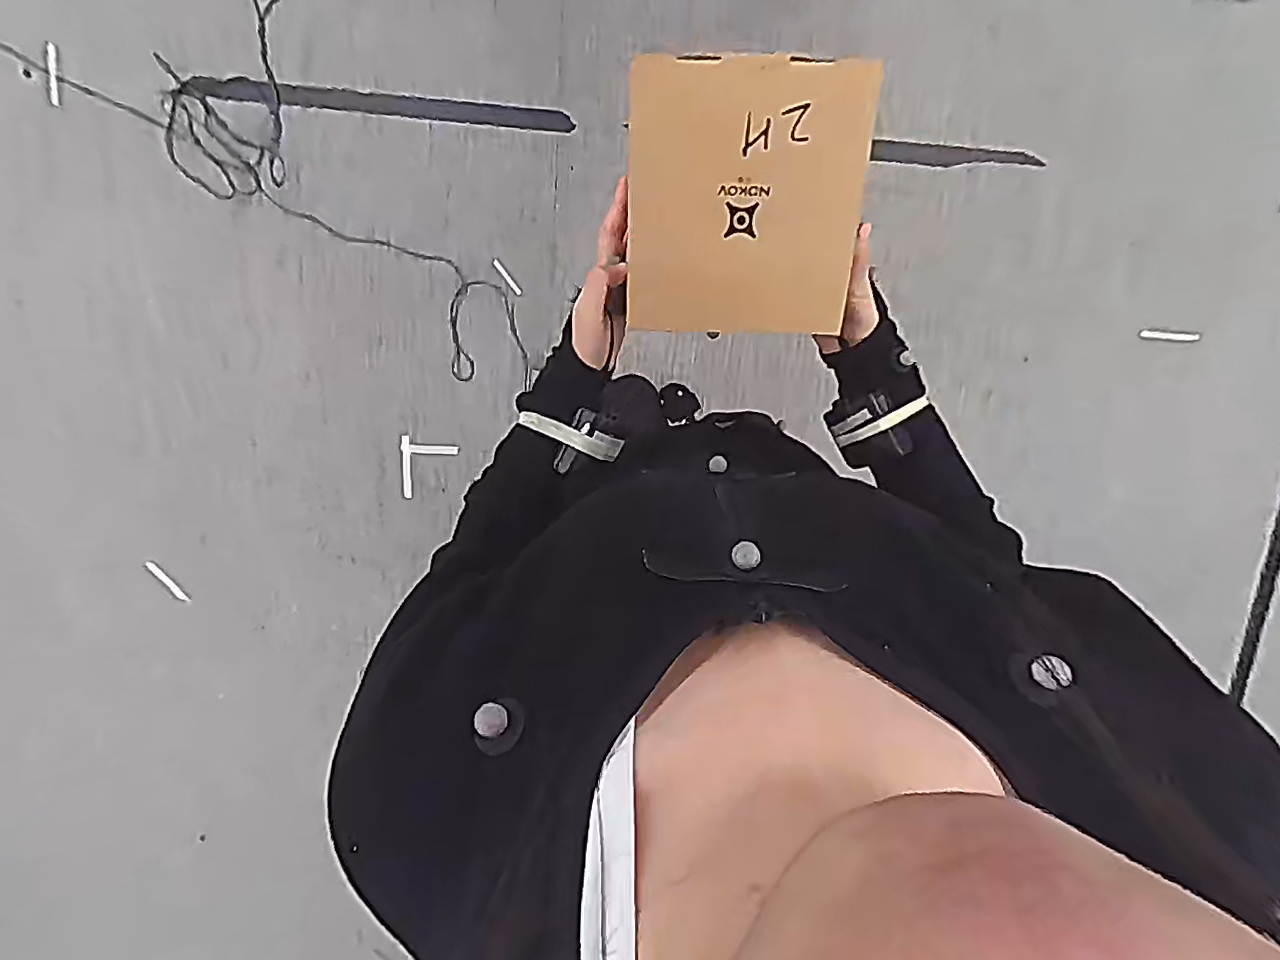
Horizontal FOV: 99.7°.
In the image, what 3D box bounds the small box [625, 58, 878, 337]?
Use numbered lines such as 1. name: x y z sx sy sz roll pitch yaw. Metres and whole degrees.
1. small box: 0.075 -0.225 0.462 0.168 0.176 0.179 2 112 0
